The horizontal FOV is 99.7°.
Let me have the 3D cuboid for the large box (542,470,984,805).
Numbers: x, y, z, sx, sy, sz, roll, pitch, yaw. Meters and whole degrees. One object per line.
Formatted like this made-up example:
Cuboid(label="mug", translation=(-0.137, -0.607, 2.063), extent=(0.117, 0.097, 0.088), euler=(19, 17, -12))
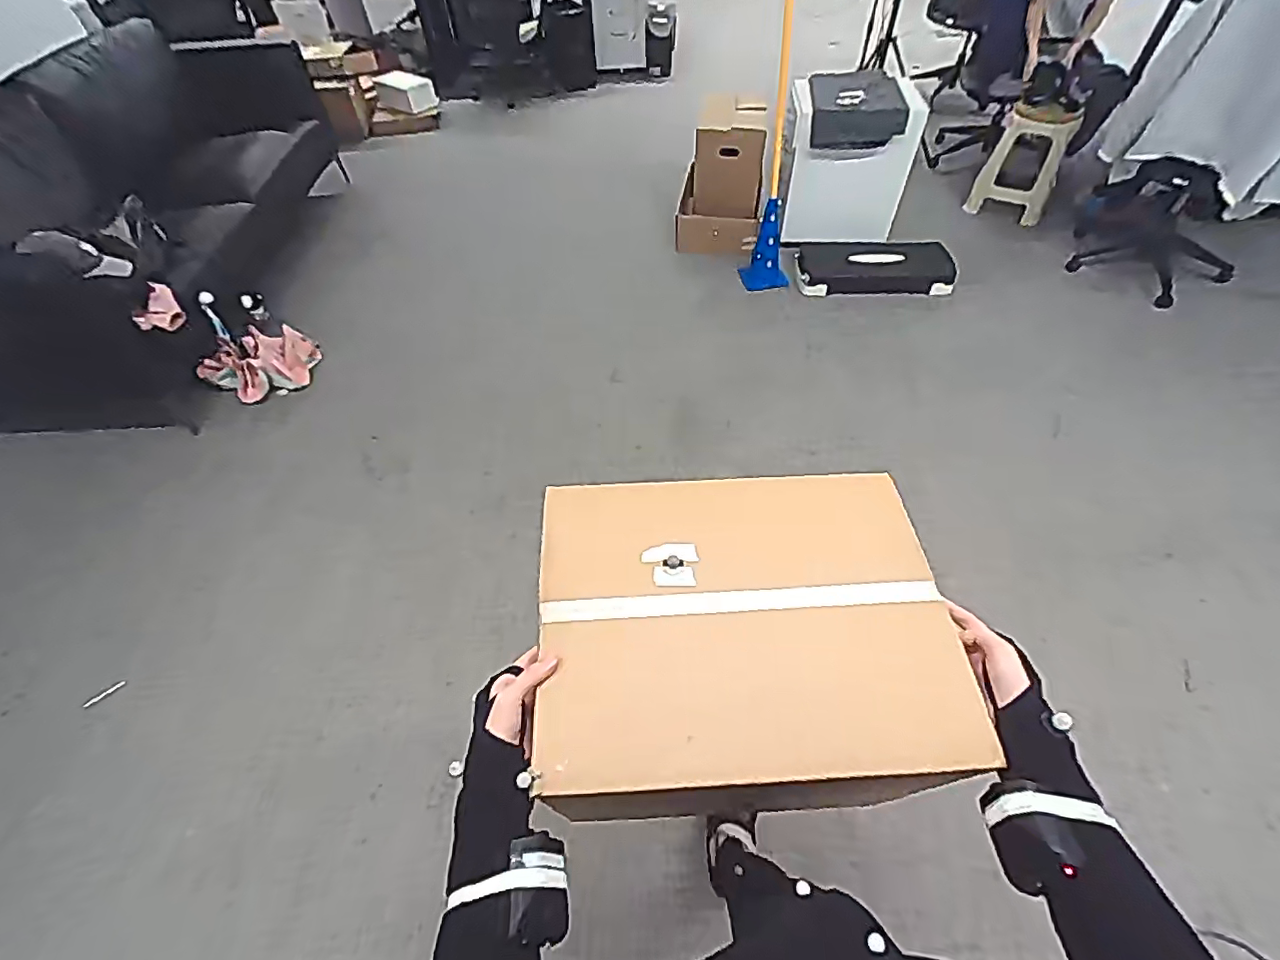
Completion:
Cuboid(label="large box", translation=(0.106, 0.210, 0.682), extent=(0.408, 0.320, 0.320), euler=(-3, 54, -1))
